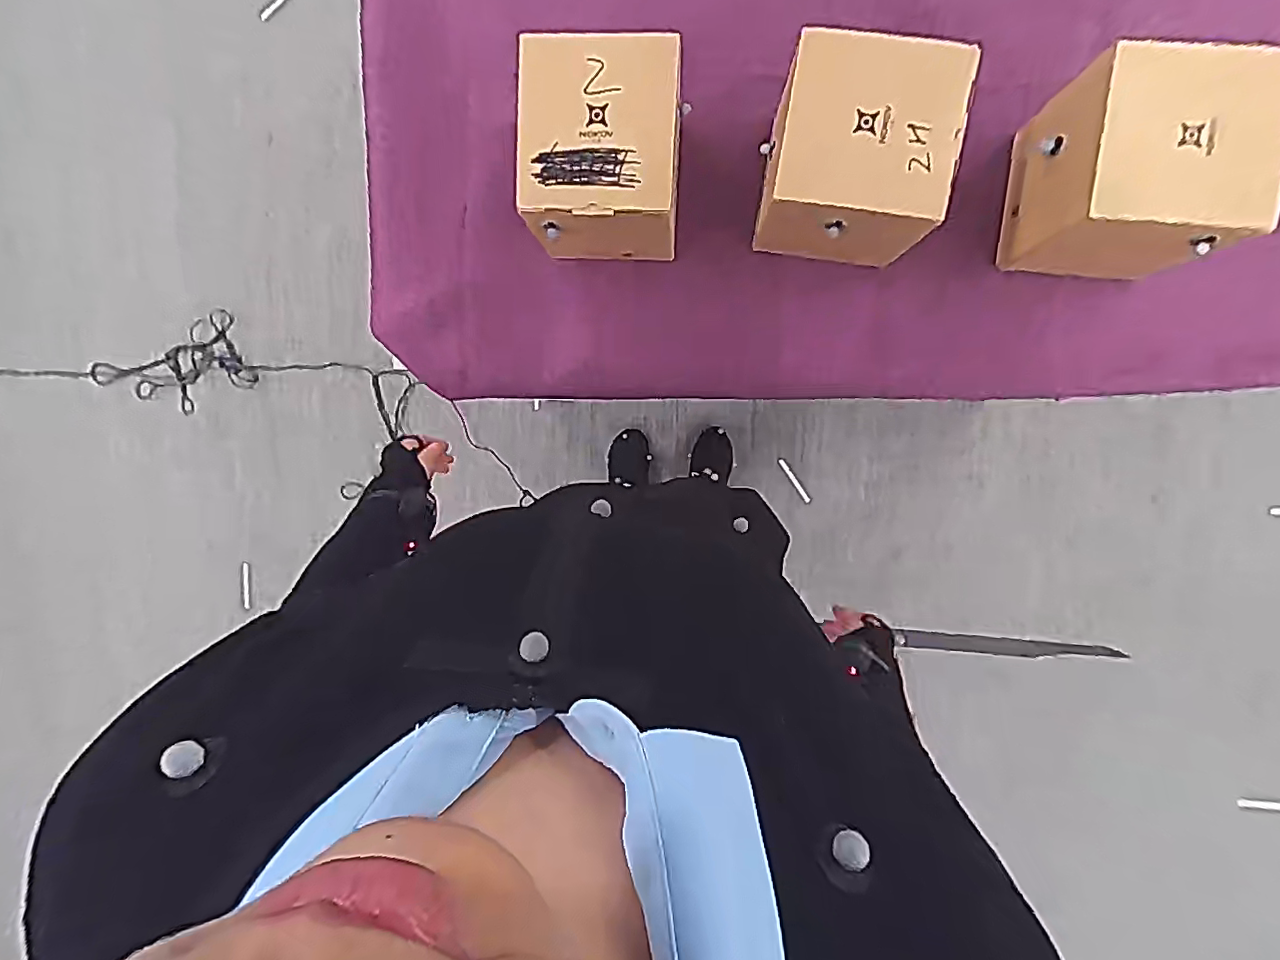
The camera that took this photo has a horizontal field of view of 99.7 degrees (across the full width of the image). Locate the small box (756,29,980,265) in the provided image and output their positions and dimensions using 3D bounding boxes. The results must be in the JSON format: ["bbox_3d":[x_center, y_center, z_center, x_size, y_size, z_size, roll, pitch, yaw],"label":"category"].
[{"bbox_3d":[0.238,-0.359,0.616,0.179,0.176,0.168,10,97,3],"label":"small box"}]

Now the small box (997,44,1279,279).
[{"bbox_3d":[0.536,-0.333,0.598,0.179,0.176,0.168,6,95,3],"label":"small box"}]
